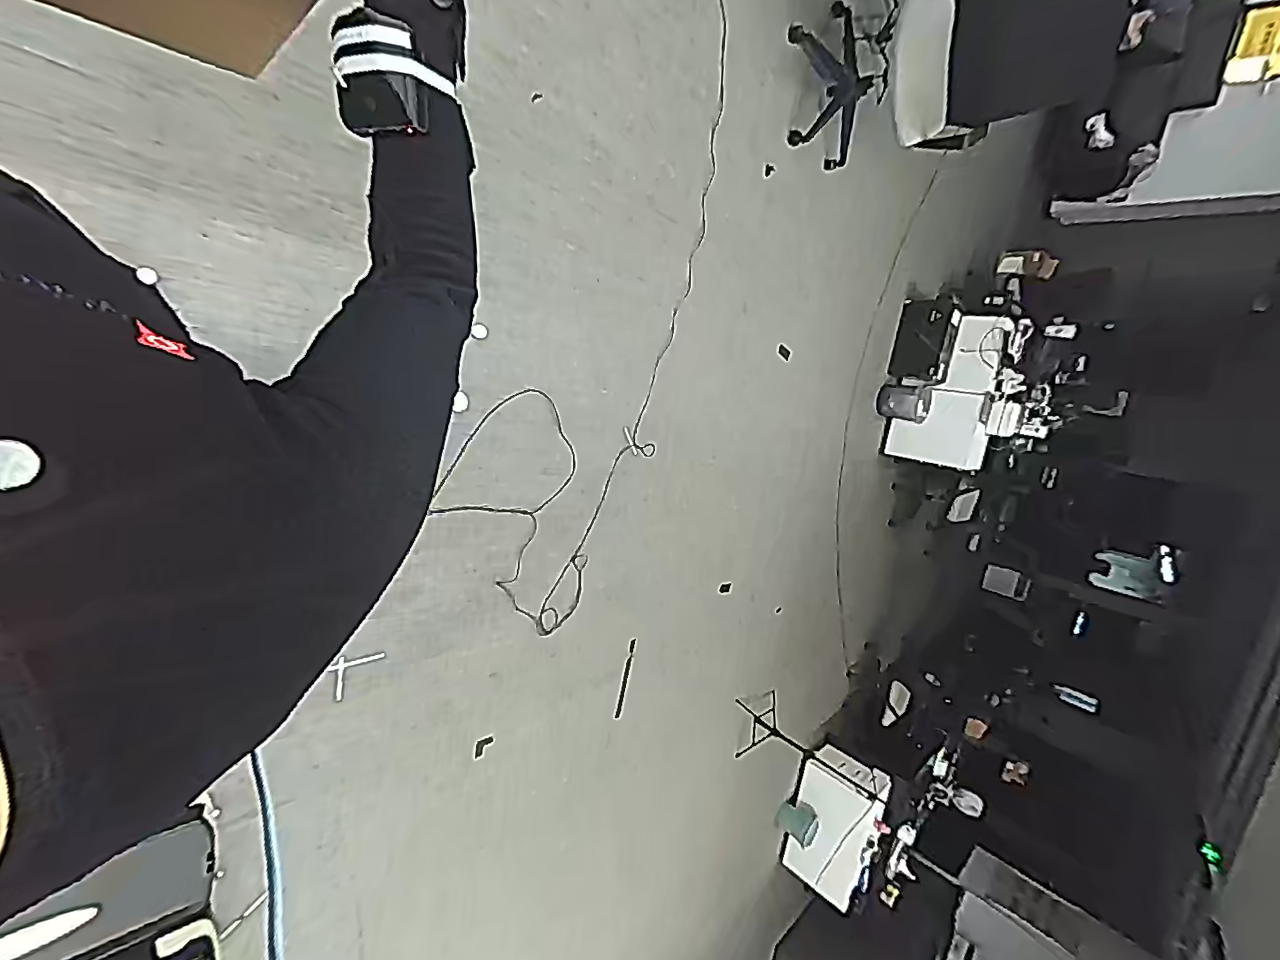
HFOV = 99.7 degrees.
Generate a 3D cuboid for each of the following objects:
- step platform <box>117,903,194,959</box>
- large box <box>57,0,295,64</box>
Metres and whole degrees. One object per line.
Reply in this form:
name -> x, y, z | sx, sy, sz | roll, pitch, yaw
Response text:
step platform -> -1.360, 1.237, 1.117 | 0.684, 0.204, 0.286 | -3, 106, -45
large box -> -0.418, -0.507, 0.274 | 0.408, 0.320, 0.320 | -7, 110, -45
